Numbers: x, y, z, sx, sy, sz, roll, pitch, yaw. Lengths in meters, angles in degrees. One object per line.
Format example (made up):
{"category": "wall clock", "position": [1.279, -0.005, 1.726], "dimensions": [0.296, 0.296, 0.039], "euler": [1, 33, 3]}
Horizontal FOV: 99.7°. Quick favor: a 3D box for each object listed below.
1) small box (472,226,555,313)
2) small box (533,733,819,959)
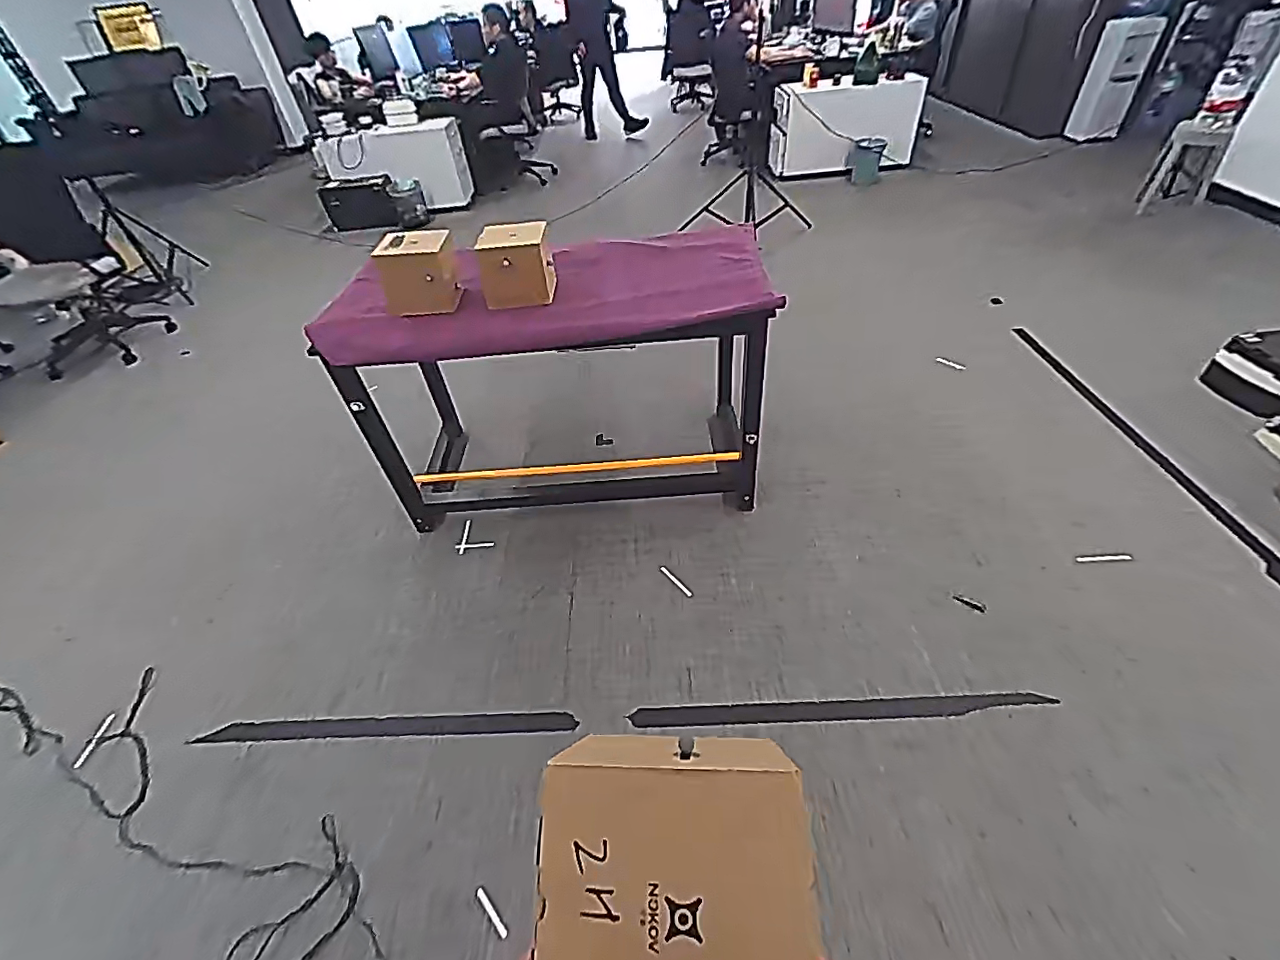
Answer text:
{"category": "small box", "position": [-0.339, -0.578, 1.490], "dimensions": [0.179, 0.176, 0.168], "euler": [-5, 43, 3]}
{"category": "small box", "position": [0.028, 0.292, 0.410], "dimensions": [0.179, 0.176, 0.168], "euler": [-2, 71, 6]}
